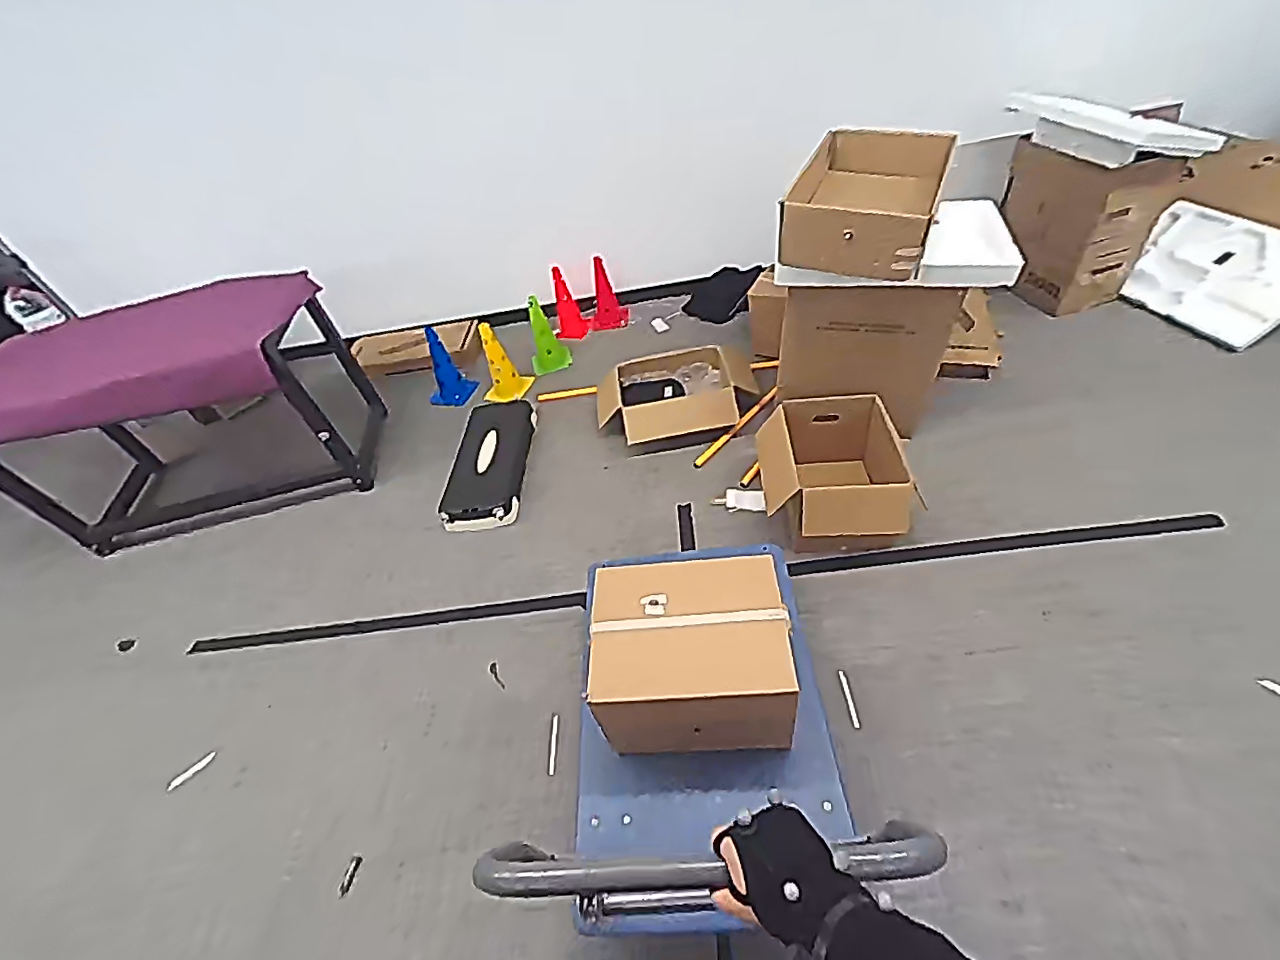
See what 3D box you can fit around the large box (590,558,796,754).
[{"bbox_3d":[0.120,0.411,1.243,0.408,0.320,0.320,-7,45,7],"label":"large box"}]
